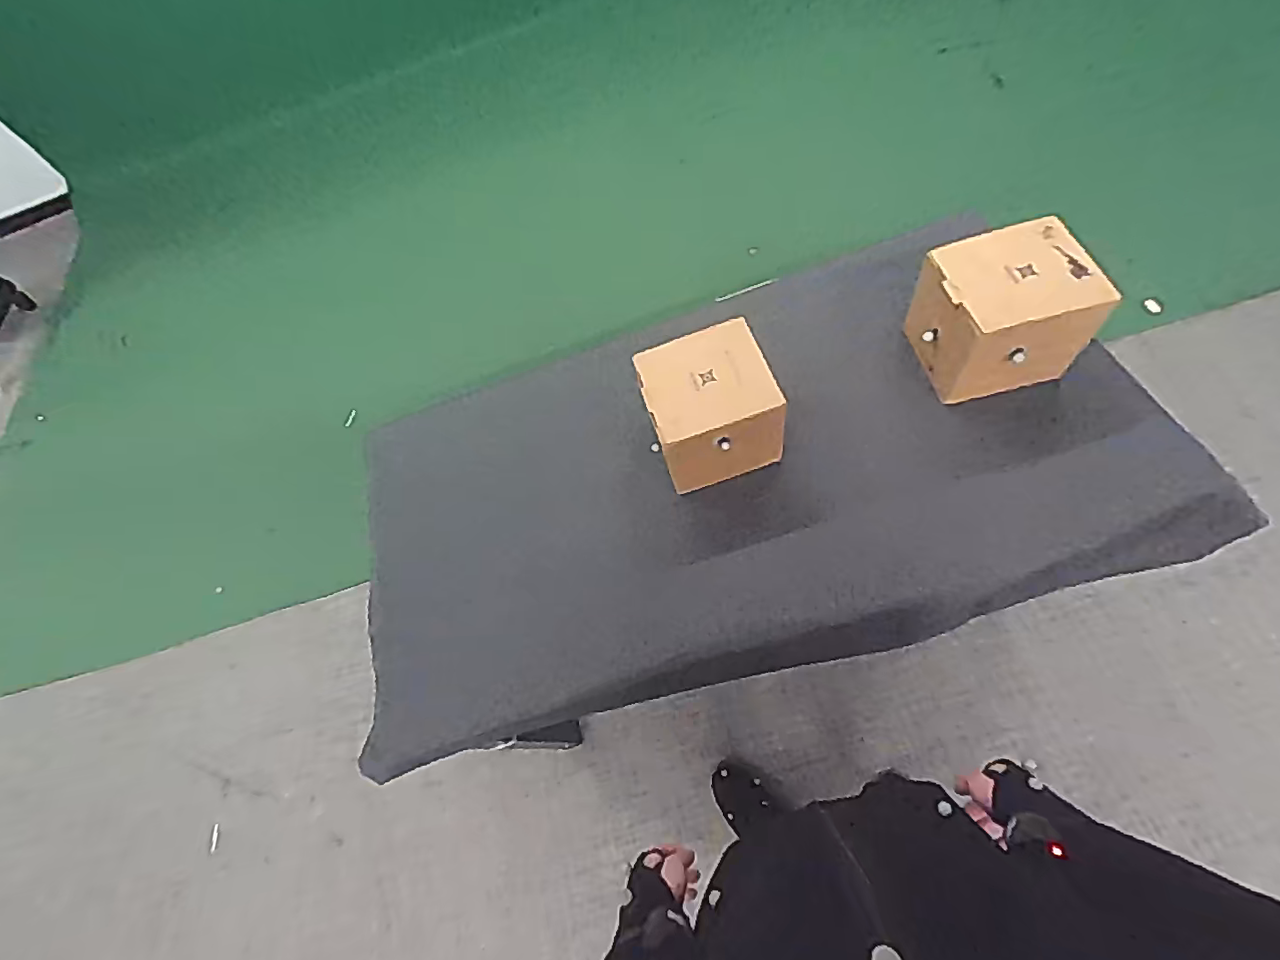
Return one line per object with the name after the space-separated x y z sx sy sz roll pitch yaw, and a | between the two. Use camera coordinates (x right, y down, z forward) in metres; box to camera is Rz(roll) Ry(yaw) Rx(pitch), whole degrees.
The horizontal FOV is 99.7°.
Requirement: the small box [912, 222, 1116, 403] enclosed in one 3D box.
0.523 -0.235 0.796 0.179 0.176 0.168 -14 63 7 | small box

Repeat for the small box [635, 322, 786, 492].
0.109 -0.103 0.828 0.179 0.176 0.168 -19 63 2 | small box
